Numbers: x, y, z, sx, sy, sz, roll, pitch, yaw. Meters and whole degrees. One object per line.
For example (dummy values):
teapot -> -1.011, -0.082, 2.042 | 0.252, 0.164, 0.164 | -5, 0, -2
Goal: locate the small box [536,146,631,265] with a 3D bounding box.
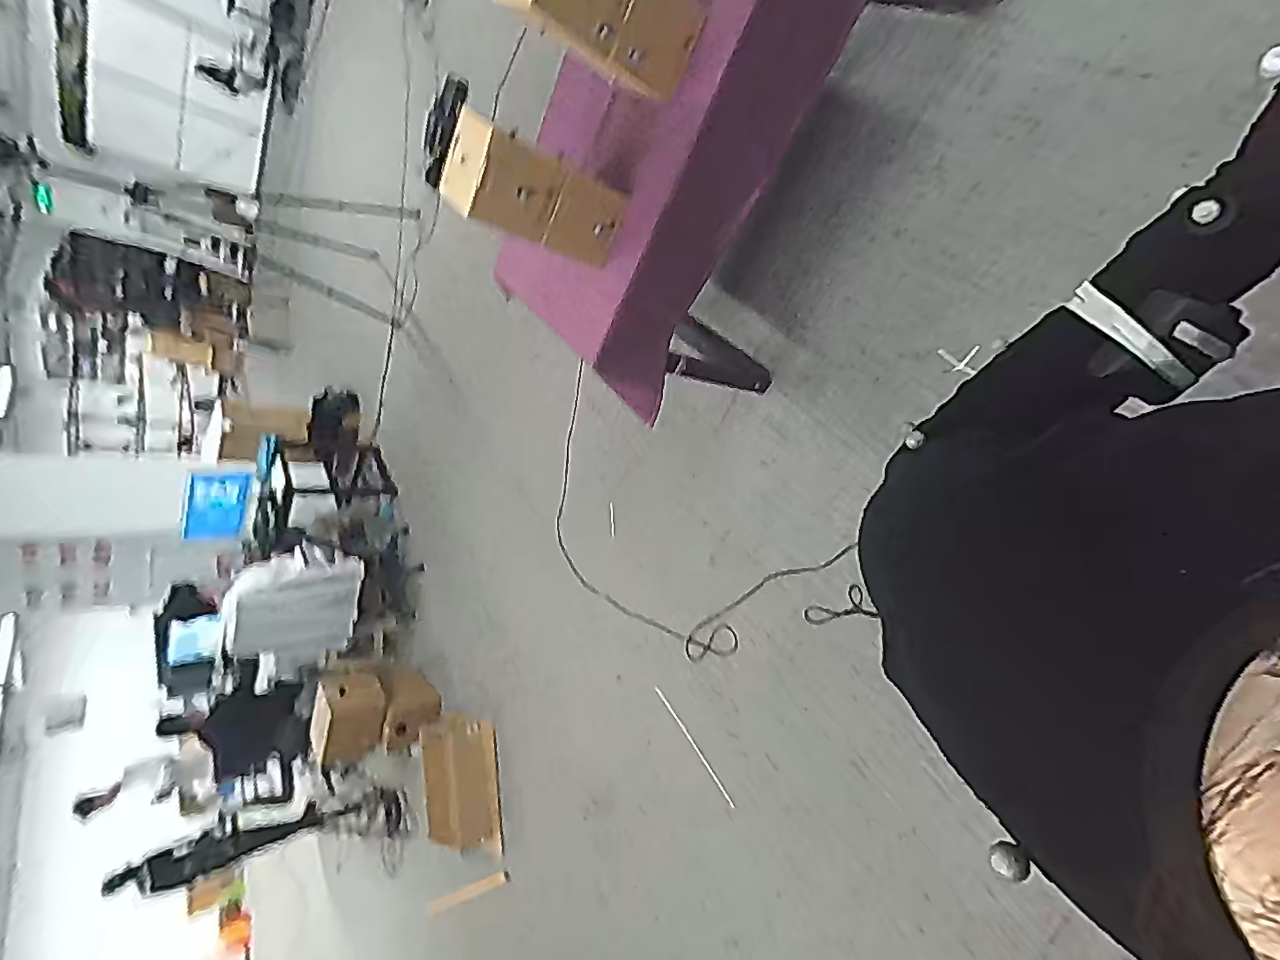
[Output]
small box -> -0.154, -0.612, 1.222 | 0.179, 0.176, 0.168 | 50, 122, 35

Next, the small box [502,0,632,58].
small box -> -0.121, -0.895, 0.964 | 0.179, 0.176, 0.168 | 49, 121, 37

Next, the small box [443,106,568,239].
small box -> -0.274, -0.619, 1.109 | 0.179, 0.176, 0.168 | 50, 121, 34
